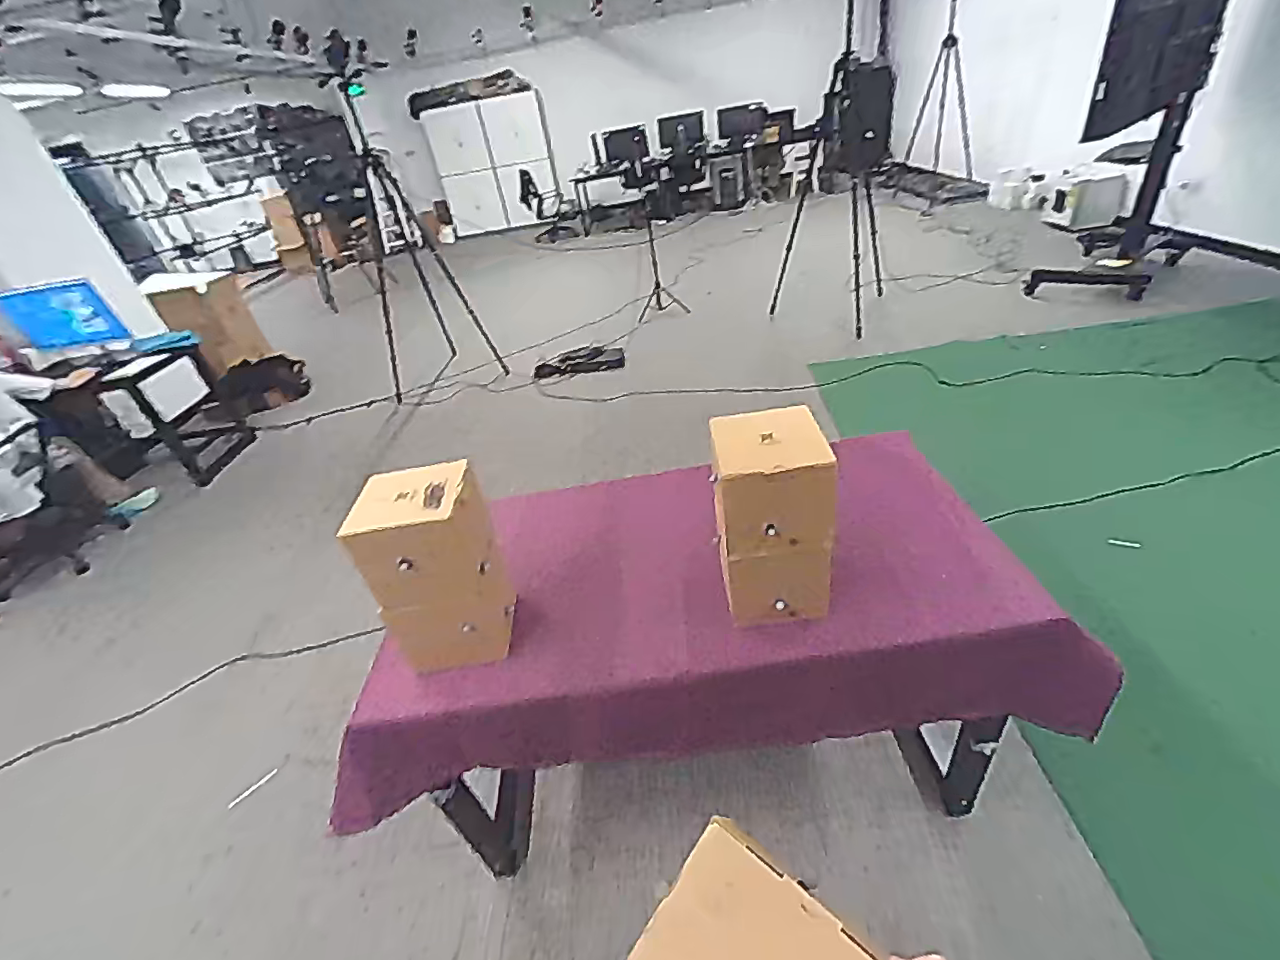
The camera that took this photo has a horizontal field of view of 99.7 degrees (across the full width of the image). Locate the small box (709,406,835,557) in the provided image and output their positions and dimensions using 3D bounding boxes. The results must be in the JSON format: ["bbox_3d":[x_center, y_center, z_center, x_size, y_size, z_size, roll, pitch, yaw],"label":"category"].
[{"bbox_3d":[0.206,0.002,0.879,0.168,0.176,0.179,-8,36,5],"label":"small box"}]

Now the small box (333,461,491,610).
[{"bbox_3d":[-0.363,0.093,0.906,0.179,0.176,0.168,-10,35,1],"label":"small box"}]

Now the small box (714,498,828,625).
[{"bbox_3d":[0.229,0.134,0.973,0.168,0.176,0.179,-8,35,5],"label":"small box"}]
